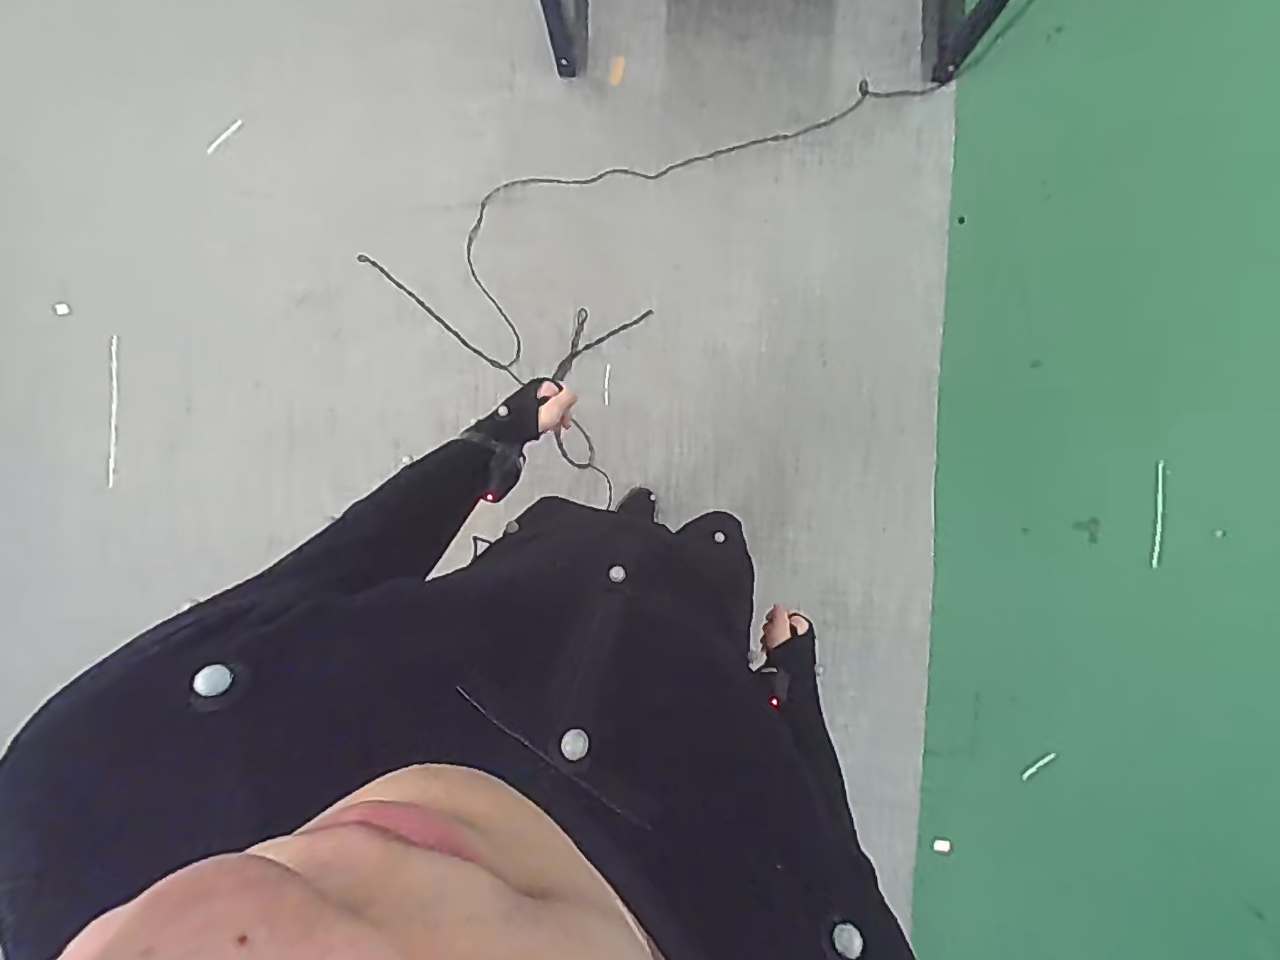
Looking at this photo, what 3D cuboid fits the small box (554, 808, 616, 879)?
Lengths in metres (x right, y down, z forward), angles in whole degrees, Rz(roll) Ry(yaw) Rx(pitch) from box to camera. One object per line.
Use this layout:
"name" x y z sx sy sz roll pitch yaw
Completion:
"small box" -0.158 1.052 1.508 0.168 0.176 0.179 6 90 0
